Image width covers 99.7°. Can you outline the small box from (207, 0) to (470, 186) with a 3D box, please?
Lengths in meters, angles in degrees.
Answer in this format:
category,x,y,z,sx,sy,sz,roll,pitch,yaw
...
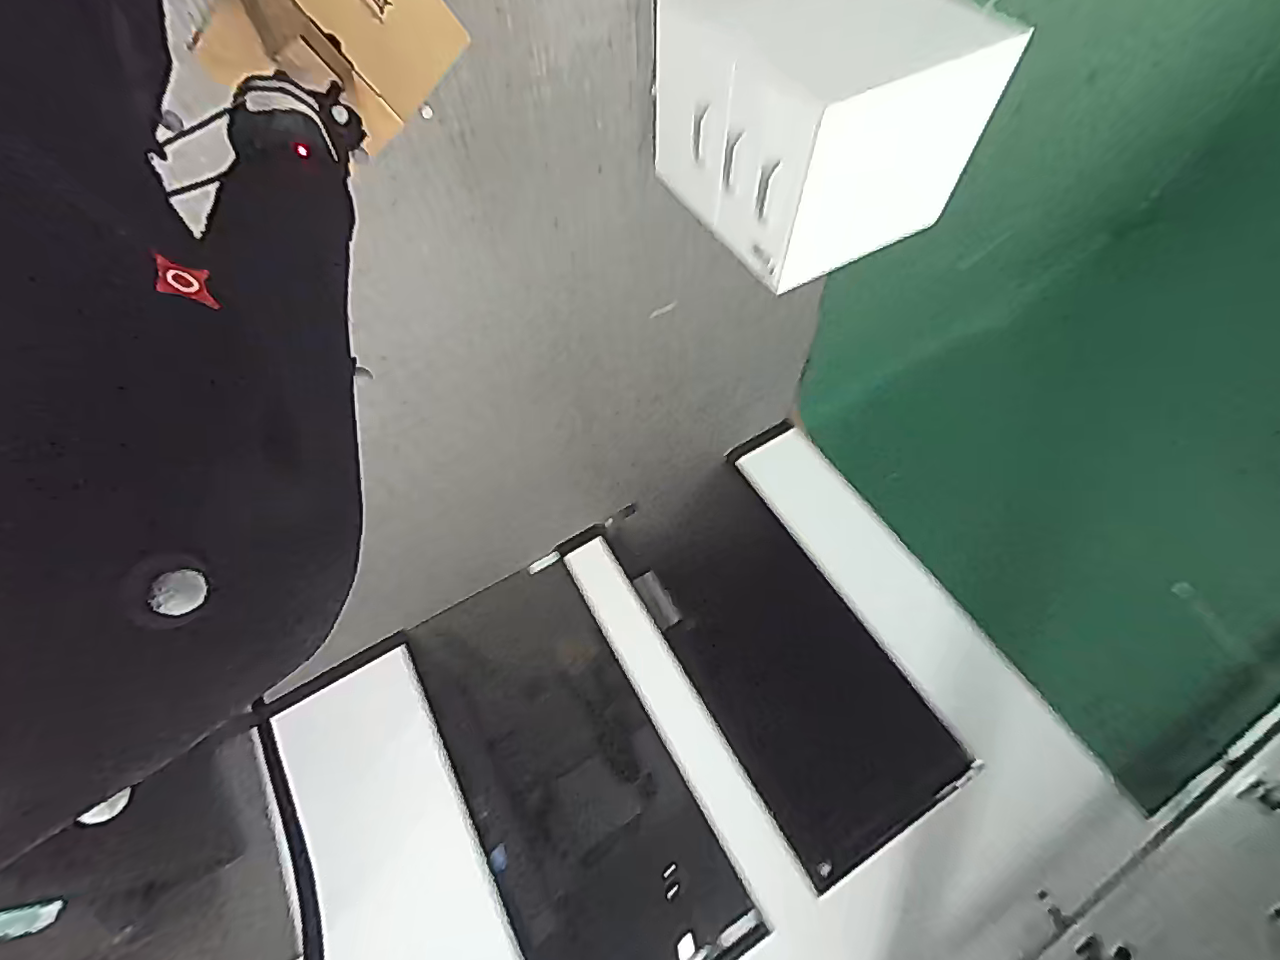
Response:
category,x,y,z,sx,sy,sz,roll,pitch,yaw
small box,-0.330,-0.474,0.598,0.176,0.179,0.168,-5,147,39
